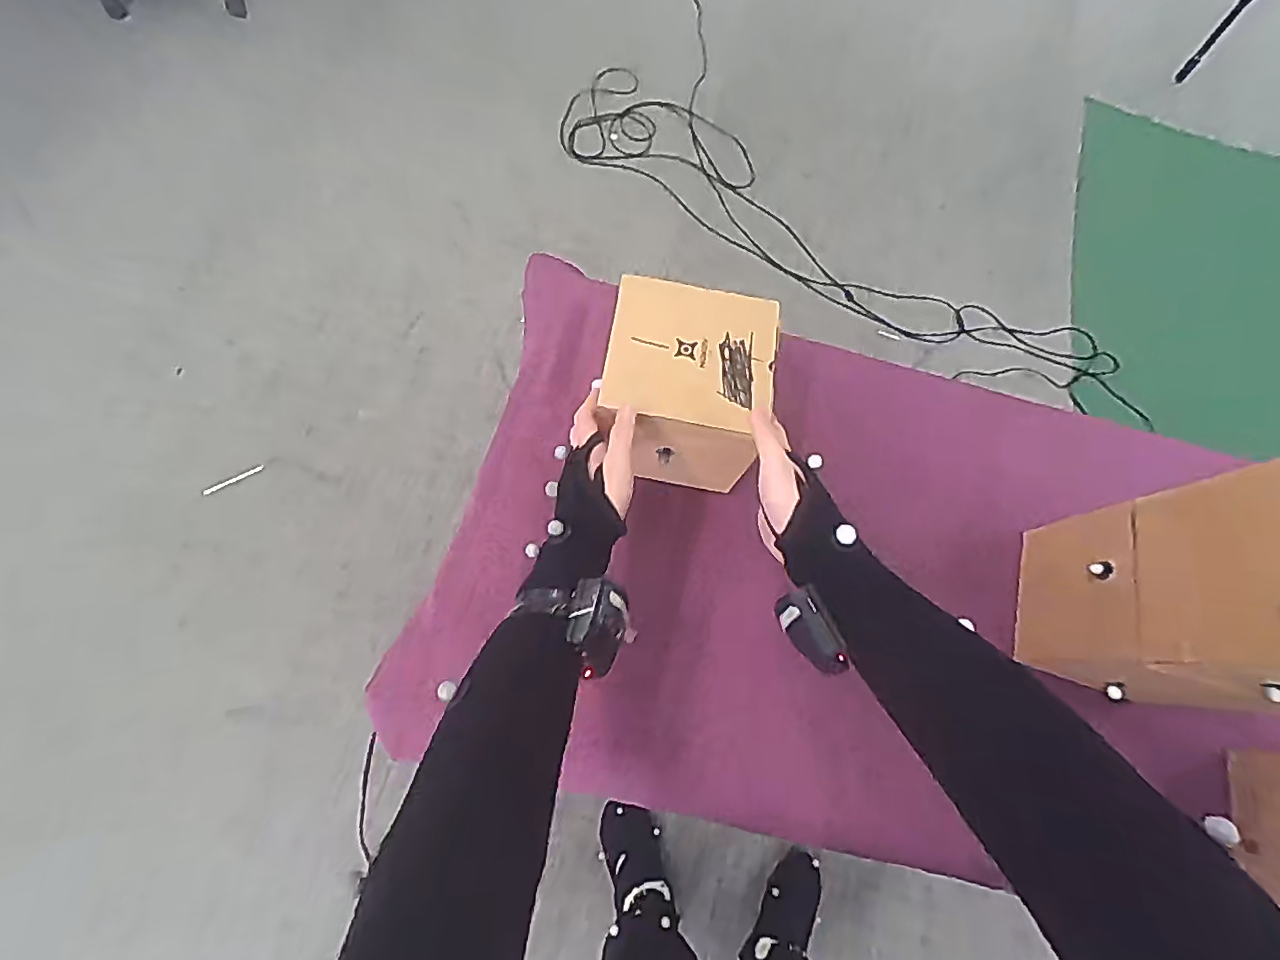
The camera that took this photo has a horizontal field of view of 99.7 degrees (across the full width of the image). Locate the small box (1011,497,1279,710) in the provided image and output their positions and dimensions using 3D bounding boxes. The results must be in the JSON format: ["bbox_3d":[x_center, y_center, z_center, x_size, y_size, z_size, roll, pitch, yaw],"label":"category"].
[{"bbox_3d":[0.570,0.145,0.626,0.168,0.176,0.179,20,71,1],"label":"small box"}]

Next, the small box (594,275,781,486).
[{"bbox_3d":[0.046,-0.101,0.625,0.179,0.176,0.168,10,70,-2],"label":"small box"}]

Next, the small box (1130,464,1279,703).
[{"bbox_3d":[0.581,0.093,0.473,0.168,0.176,0.179,17,72,-1],"label":"small box"}]
